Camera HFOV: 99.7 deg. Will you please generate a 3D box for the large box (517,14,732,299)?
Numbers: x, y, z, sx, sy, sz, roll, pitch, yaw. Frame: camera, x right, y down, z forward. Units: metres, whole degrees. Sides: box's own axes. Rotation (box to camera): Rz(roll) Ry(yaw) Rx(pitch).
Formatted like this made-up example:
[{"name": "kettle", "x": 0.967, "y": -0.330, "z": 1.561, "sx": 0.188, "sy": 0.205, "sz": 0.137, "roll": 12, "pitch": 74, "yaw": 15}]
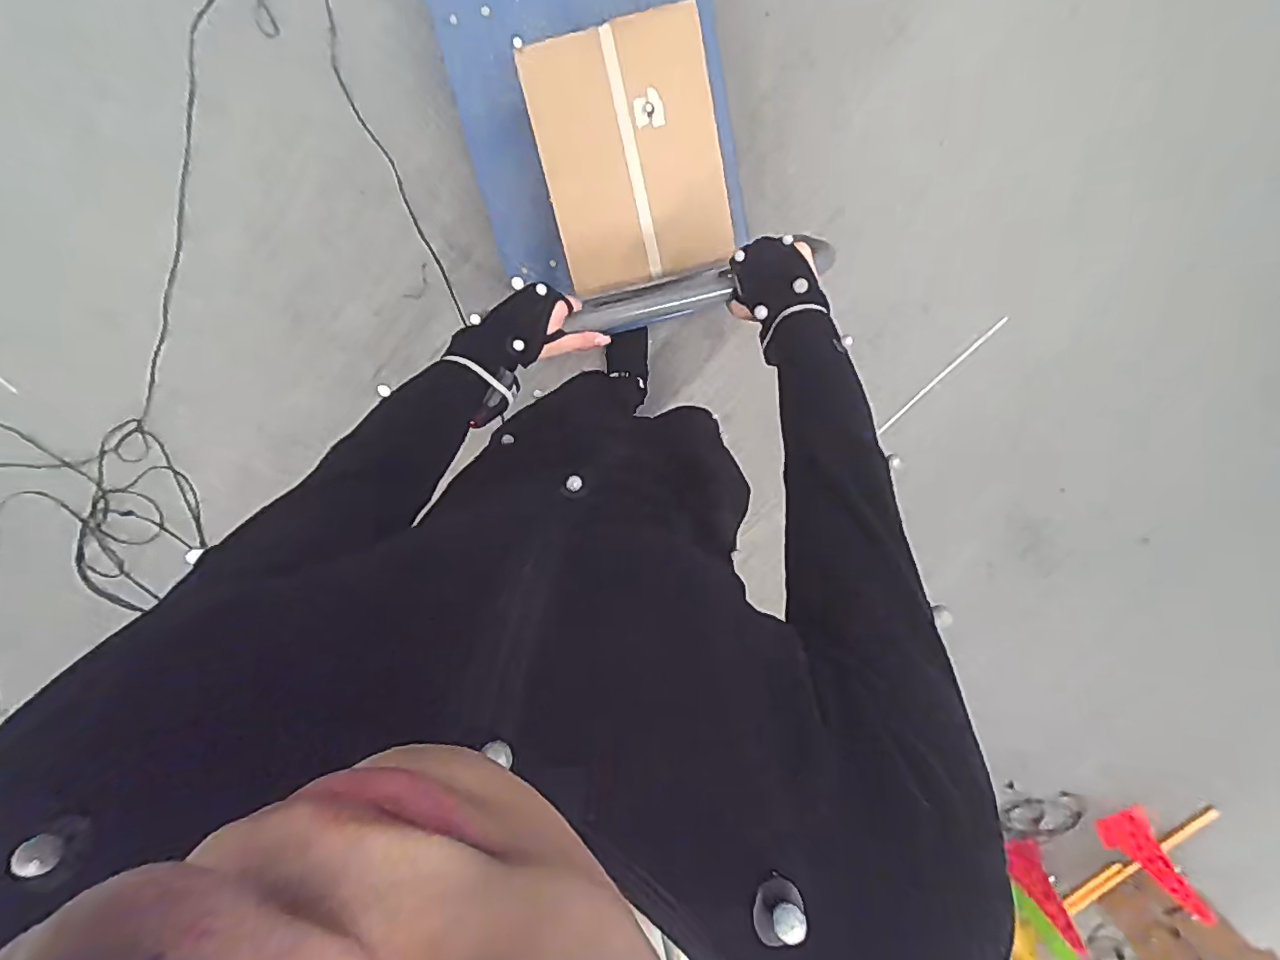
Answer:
[{"name": "large box", "x": -0.019, "y": -0.614, "z": 1.117, "sx": 0.320, "sy": 0.320, "sz": 0.408, "roll": -13, "pitch": 108, "yaw": 2}]
